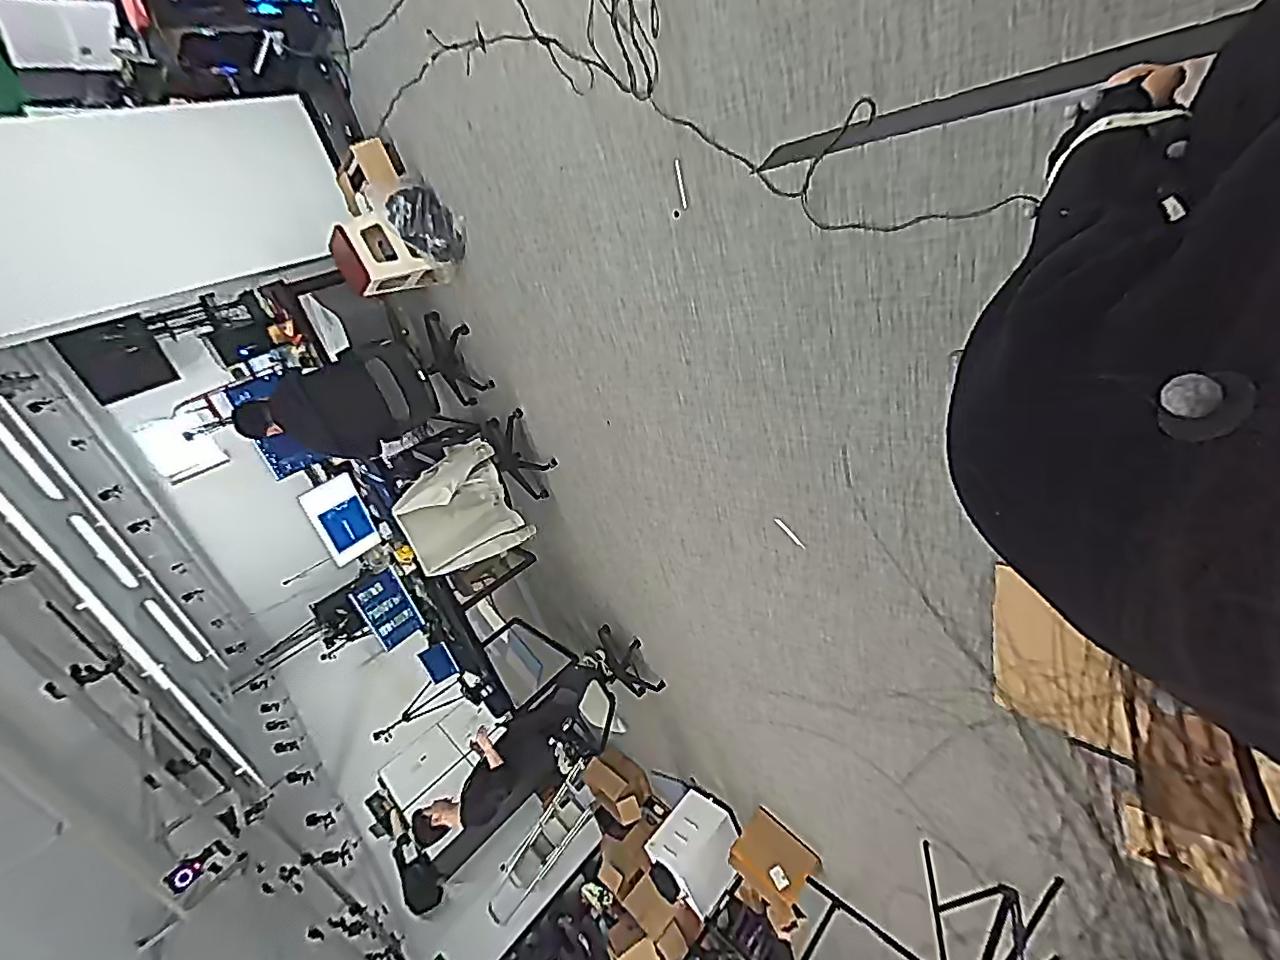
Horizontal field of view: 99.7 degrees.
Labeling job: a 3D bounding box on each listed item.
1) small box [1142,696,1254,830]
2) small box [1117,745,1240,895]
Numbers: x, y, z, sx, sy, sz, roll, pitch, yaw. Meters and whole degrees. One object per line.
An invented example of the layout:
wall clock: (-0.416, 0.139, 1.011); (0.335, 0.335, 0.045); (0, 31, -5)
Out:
small box: (1.275, 0.641, 1.242); (0.168, 0.176, 0.179); (8, 126, 49)
small box: (1.155, 0.718, 1.160); (0.168, 0.176, 0.179); (8, 125, 49)
